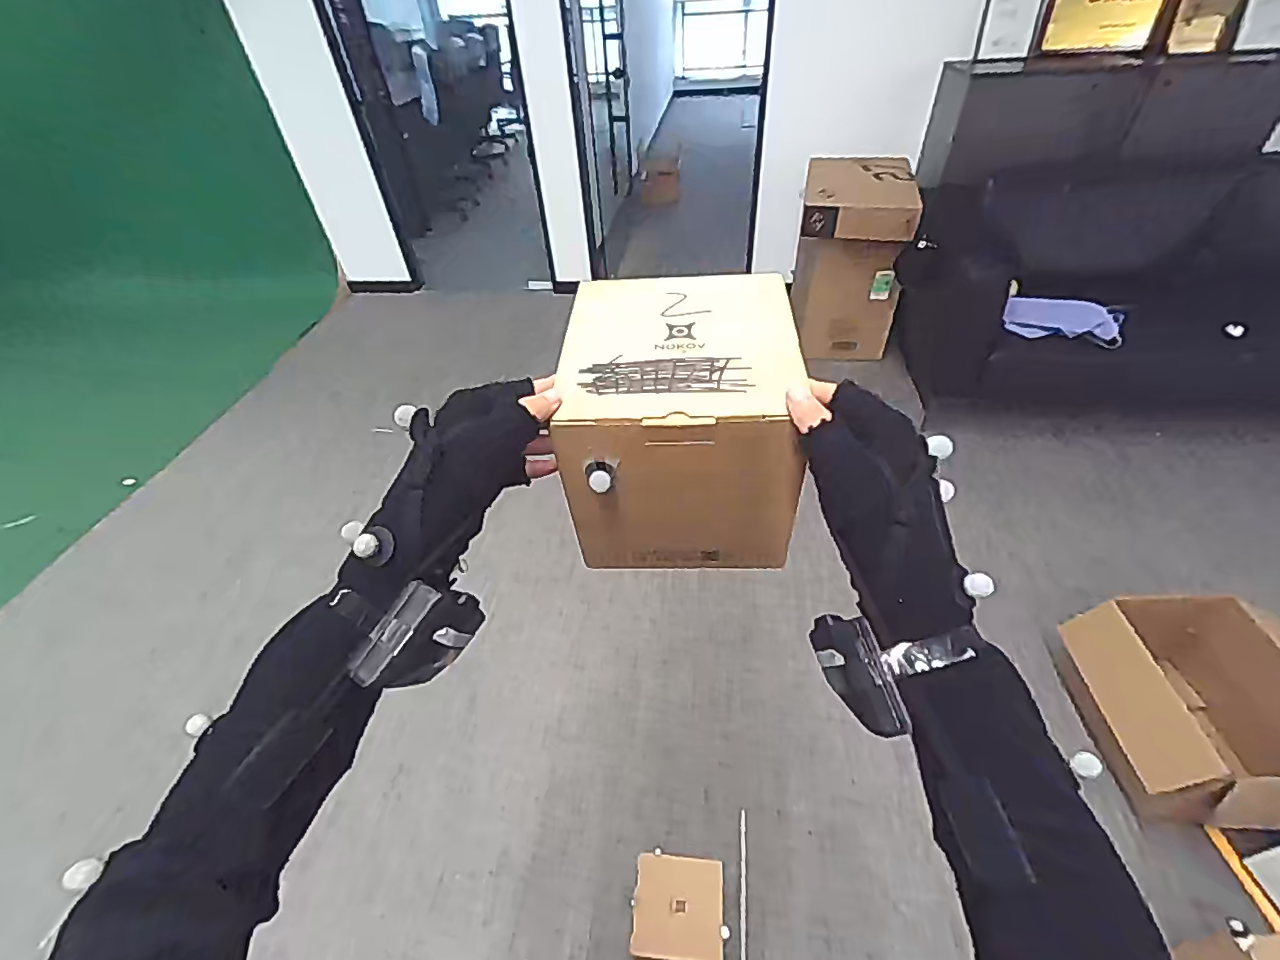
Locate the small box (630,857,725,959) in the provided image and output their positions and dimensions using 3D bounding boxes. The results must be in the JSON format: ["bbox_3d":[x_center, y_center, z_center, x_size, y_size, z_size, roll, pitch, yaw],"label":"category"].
[{"bbox_3d":[0.080,0.893,1.098,0.179,0.176,0.168,1,43,7],"label":"small box"}]
